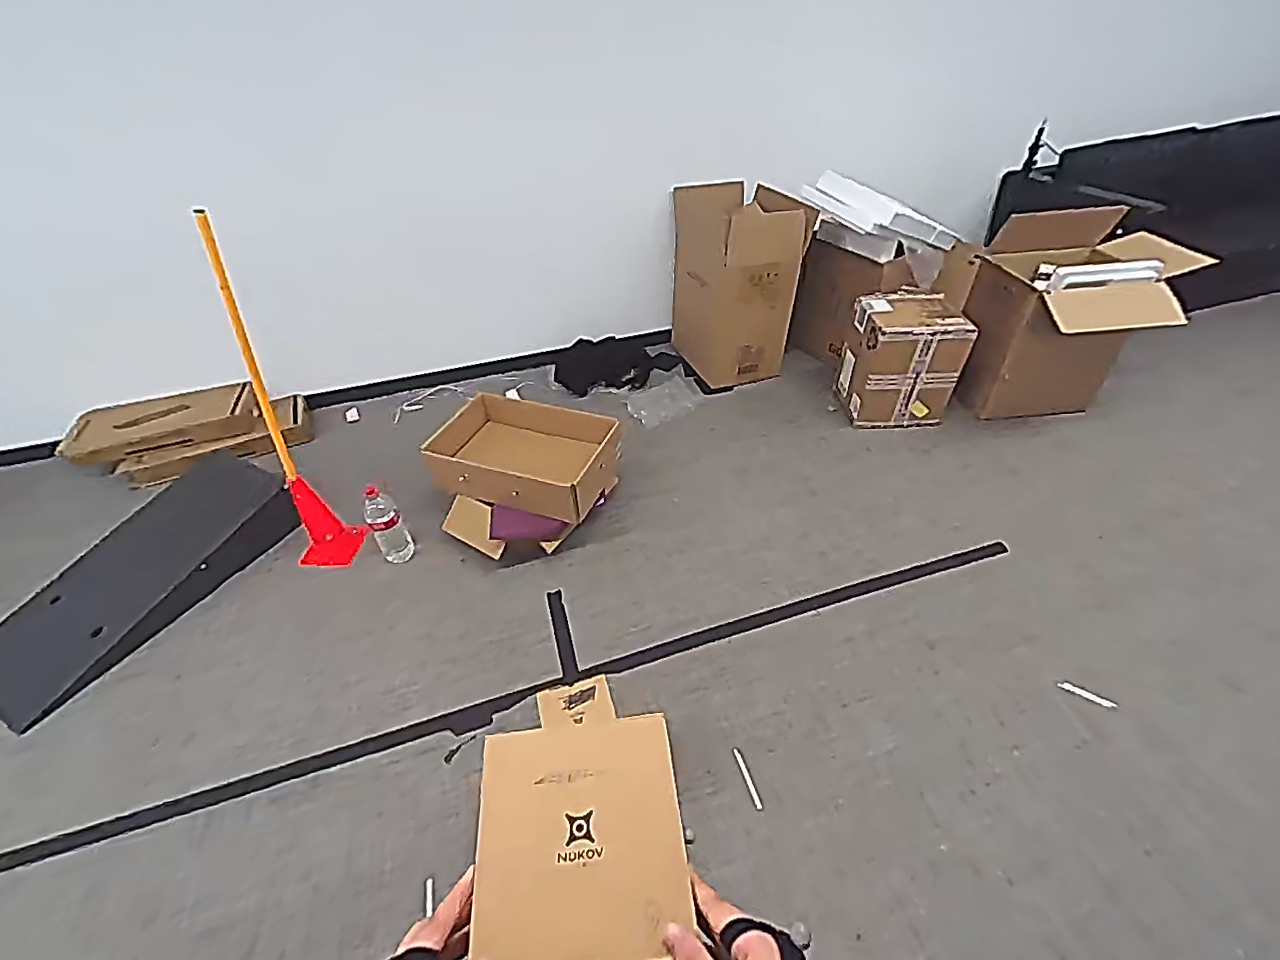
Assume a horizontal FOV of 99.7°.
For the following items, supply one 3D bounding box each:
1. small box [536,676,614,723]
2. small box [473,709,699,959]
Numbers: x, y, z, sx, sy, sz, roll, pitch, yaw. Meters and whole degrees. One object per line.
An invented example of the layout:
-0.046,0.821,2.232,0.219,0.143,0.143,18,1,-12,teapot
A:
-0.139,0.593,1.255,0.168,0.176,0.179,-13,44,-12,small box
-0.046,0.337,0.493,0.168,0.176,0.179,-5,44,-6,small box
